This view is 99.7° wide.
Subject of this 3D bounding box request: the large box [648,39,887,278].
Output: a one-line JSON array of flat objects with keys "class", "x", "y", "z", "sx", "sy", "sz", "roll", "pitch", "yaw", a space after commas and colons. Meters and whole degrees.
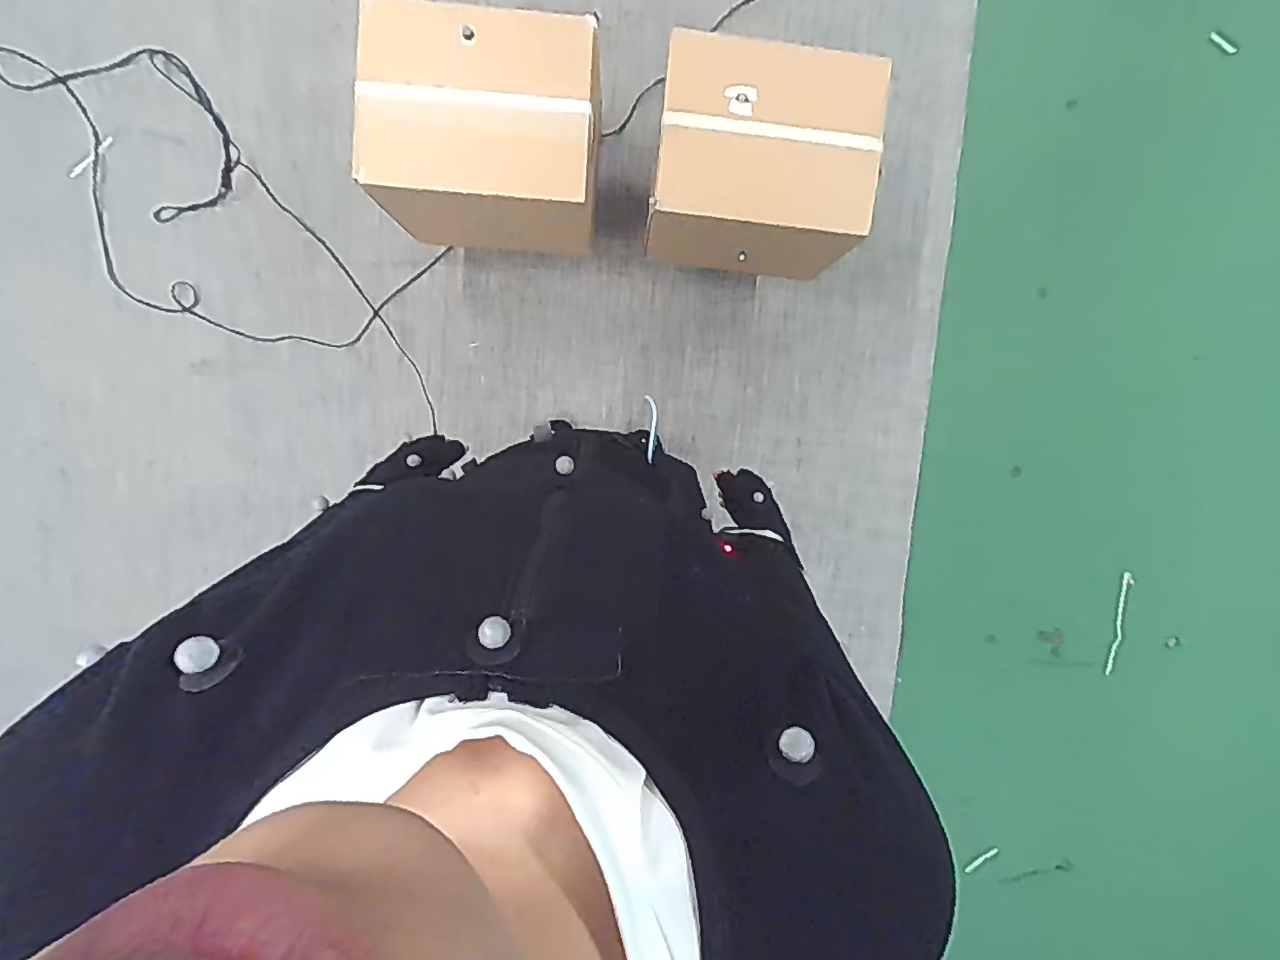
[{"class": "large box", "x": 0.237, "y": -0.638, "z": 1.139, "sx": 0.408, "sy": 0.320, "sz": 0.320, "roll": 6, "pitch": 95, "yaw": -3}]
